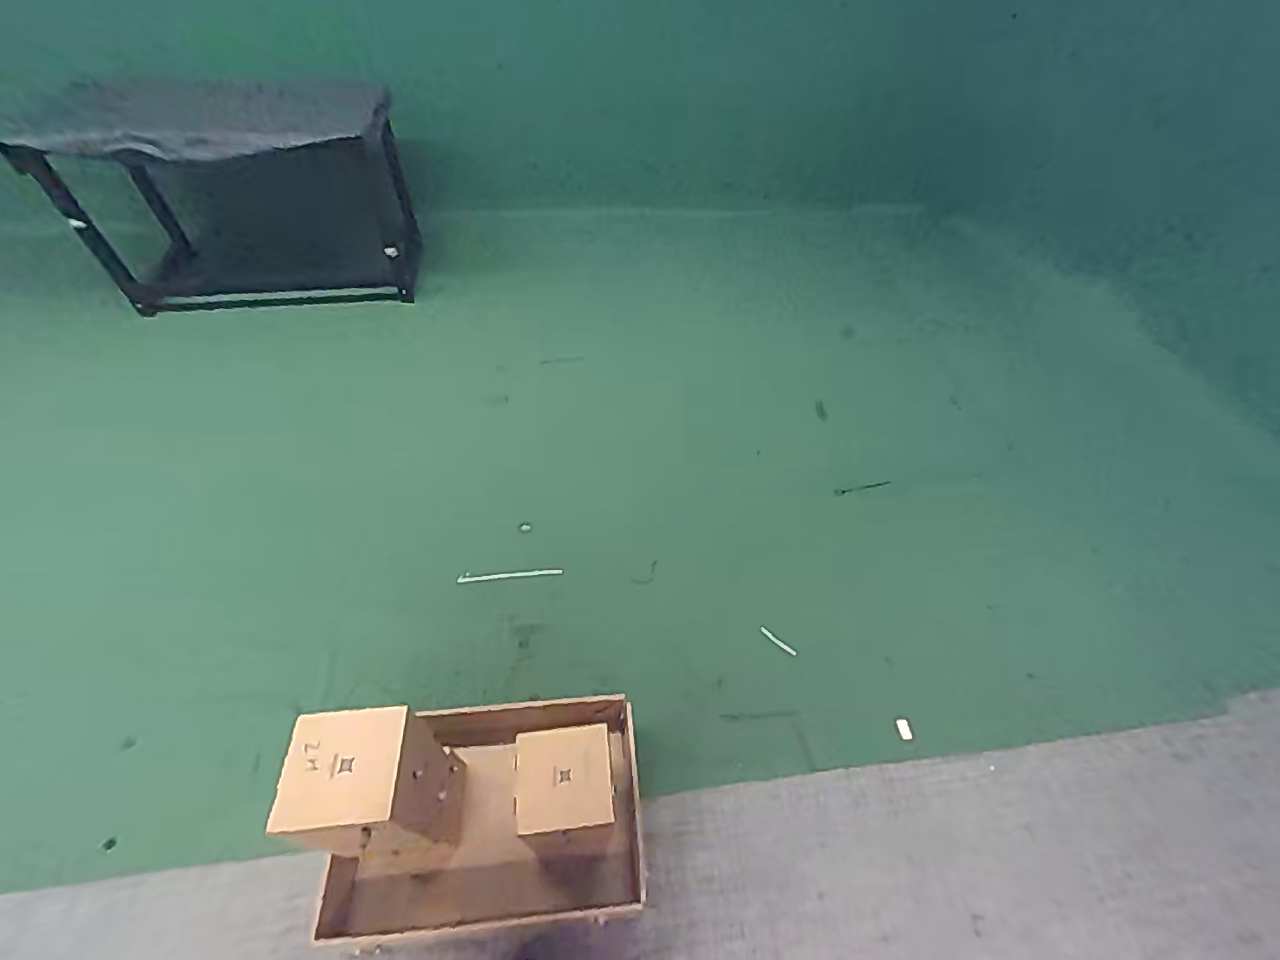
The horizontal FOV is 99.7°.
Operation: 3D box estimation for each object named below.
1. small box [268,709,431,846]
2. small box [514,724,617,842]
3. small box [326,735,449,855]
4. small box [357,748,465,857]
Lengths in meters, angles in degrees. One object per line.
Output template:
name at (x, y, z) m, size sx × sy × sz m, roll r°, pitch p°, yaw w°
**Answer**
small box at (-0.459, 0.492, 0.892) m, size 0.179 × 0.176 × 0.168 m, roll -3°, pitch 51°, yaw -6°
small box at (-0.139, 0.587, 1.042) m, size 0.179 × 0.176 × 0.168 m, roll -5°, pitch 53°, yaw -5°
small box at (-0.477, 0.596, 1.021) m, size 0.179 × 0.176 × 0.168 m, roll -2°, pitch 51°, yaw -6°
small box at (-0.479, 0.691, 1.154) m, size 0.168 × 0.176 × 0.179 m, roll -4°, pitch 52°, yaw -6°
